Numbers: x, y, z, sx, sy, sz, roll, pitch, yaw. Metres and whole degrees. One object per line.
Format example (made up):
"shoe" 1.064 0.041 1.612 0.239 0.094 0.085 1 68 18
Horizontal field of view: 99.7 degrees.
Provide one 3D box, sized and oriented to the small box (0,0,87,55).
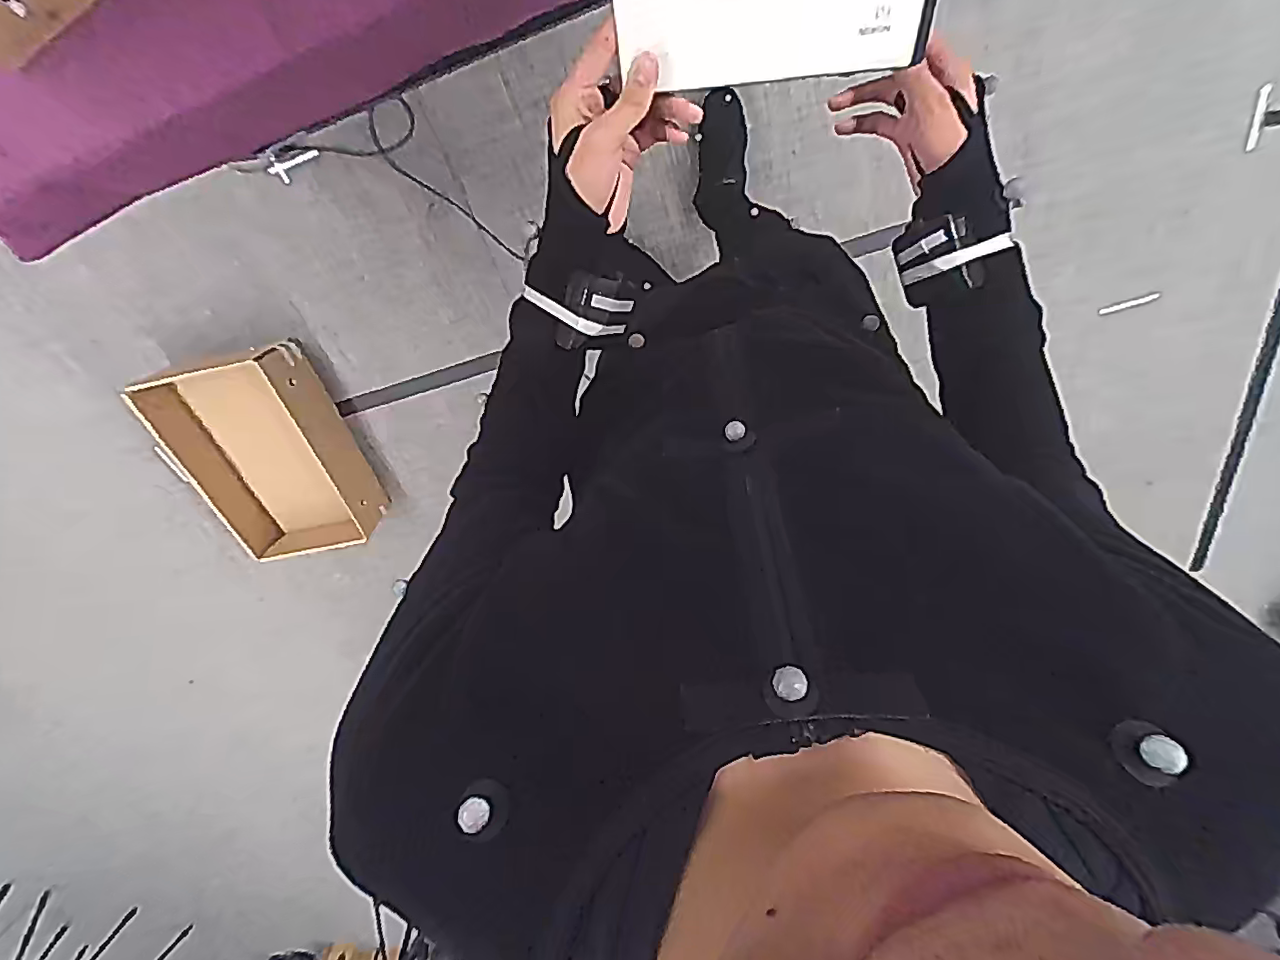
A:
"small box" -0.673 -0.520 0.487 0.168 0.176 0.179 -23 120 13
